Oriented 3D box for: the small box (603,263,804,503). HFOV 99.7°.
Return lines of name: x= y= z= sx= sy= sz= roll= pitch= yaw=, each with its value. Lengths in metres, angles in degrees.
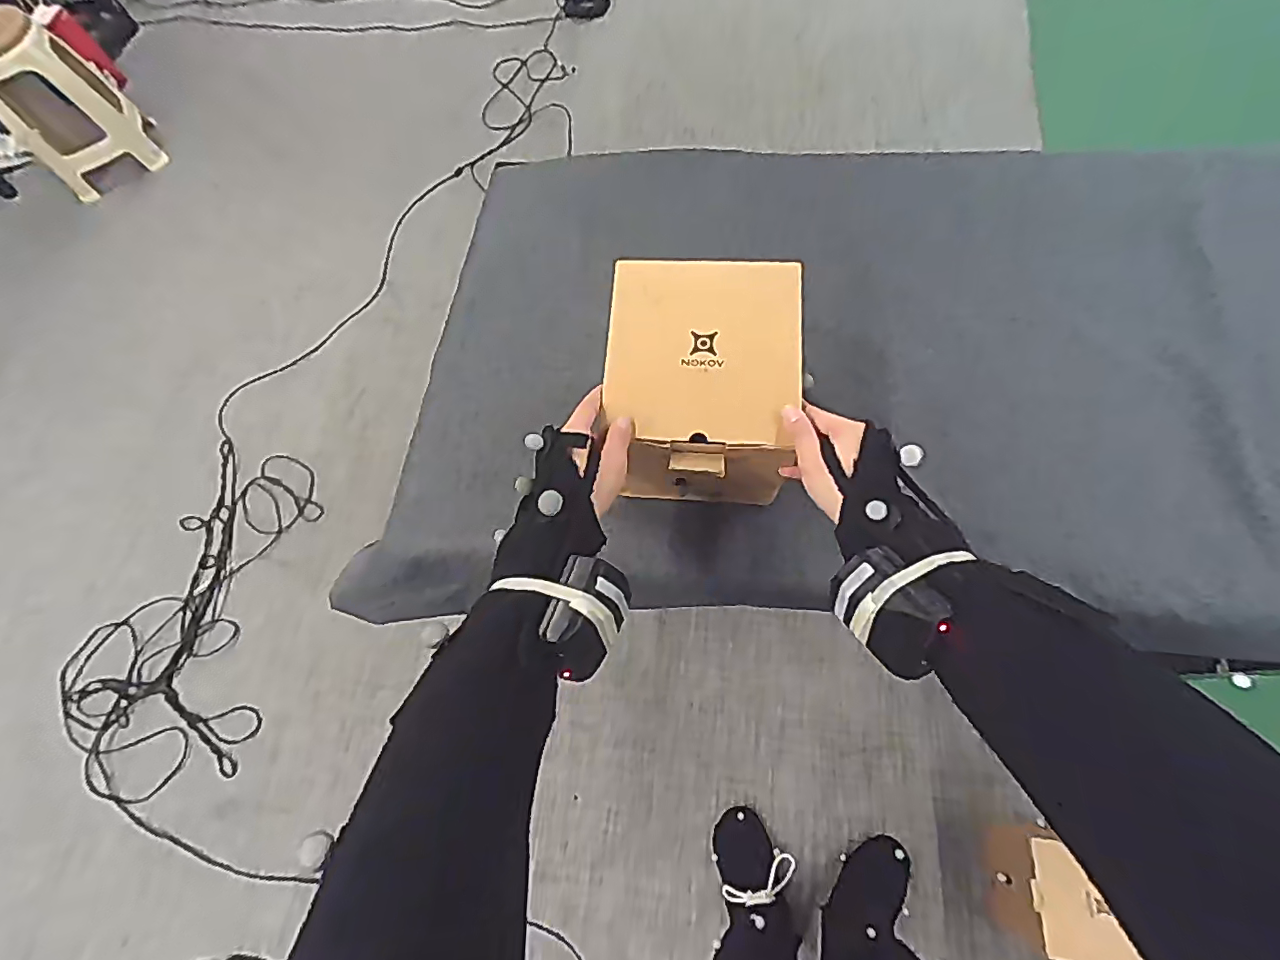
small box: x=0.061 y=-0.086 z=0.535 sx=0.168 sy=0.176 sz=0.179 roll=3 pitch=73 yaw=5
